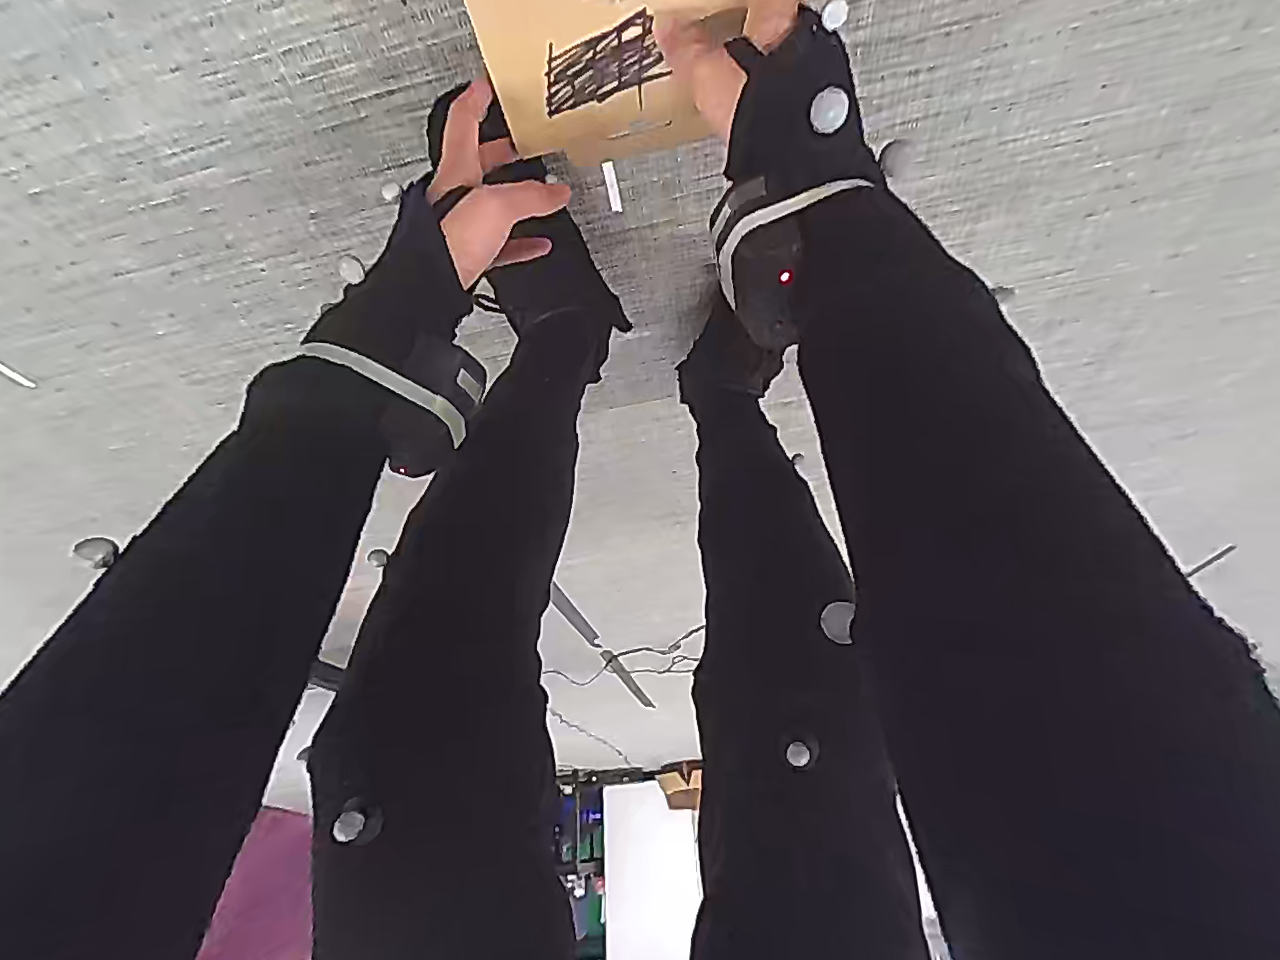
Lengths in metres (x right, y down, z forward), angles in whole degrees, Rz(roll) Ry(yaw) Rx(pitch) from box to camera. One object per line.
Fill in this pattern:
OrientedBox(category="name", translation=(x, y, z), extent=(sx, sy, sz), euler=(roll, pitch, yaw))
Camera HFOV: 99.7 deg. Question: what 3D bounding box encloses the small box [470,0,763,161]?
OrientedBox(category="small box", translation=(-0.020, -0.344, 0.338), extent=(0.168, 0.176, 0.179), euler=(-10, 145, 6))
